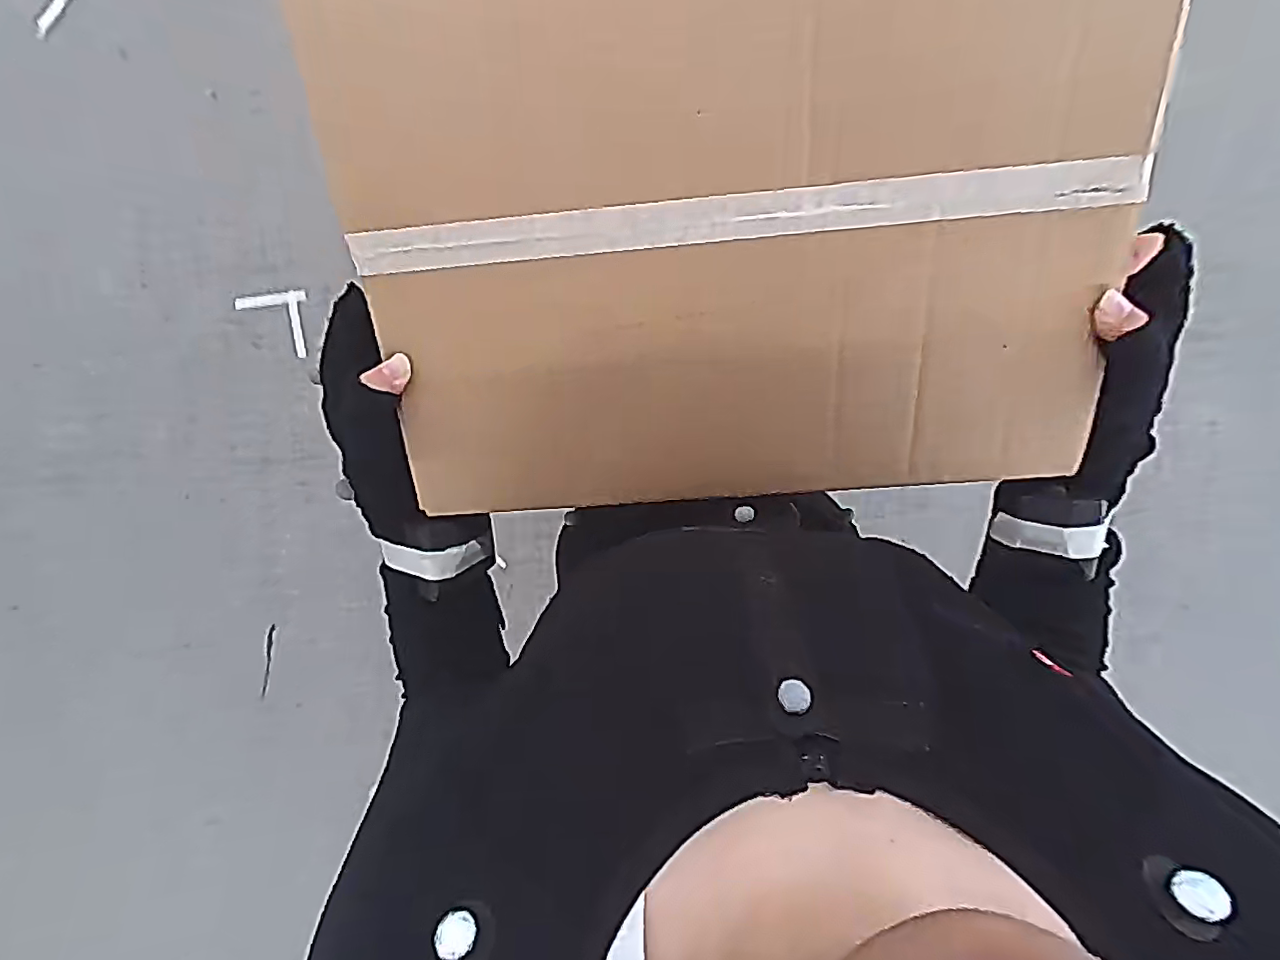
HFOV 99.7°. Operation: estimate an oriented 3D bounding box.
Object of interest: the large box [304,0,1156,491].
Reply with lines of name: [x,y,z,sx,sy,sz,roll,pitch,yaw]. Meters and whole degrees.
large box: [0.048,-0.205,0.424,0.408,0.320,0.320,-4,114,3]
